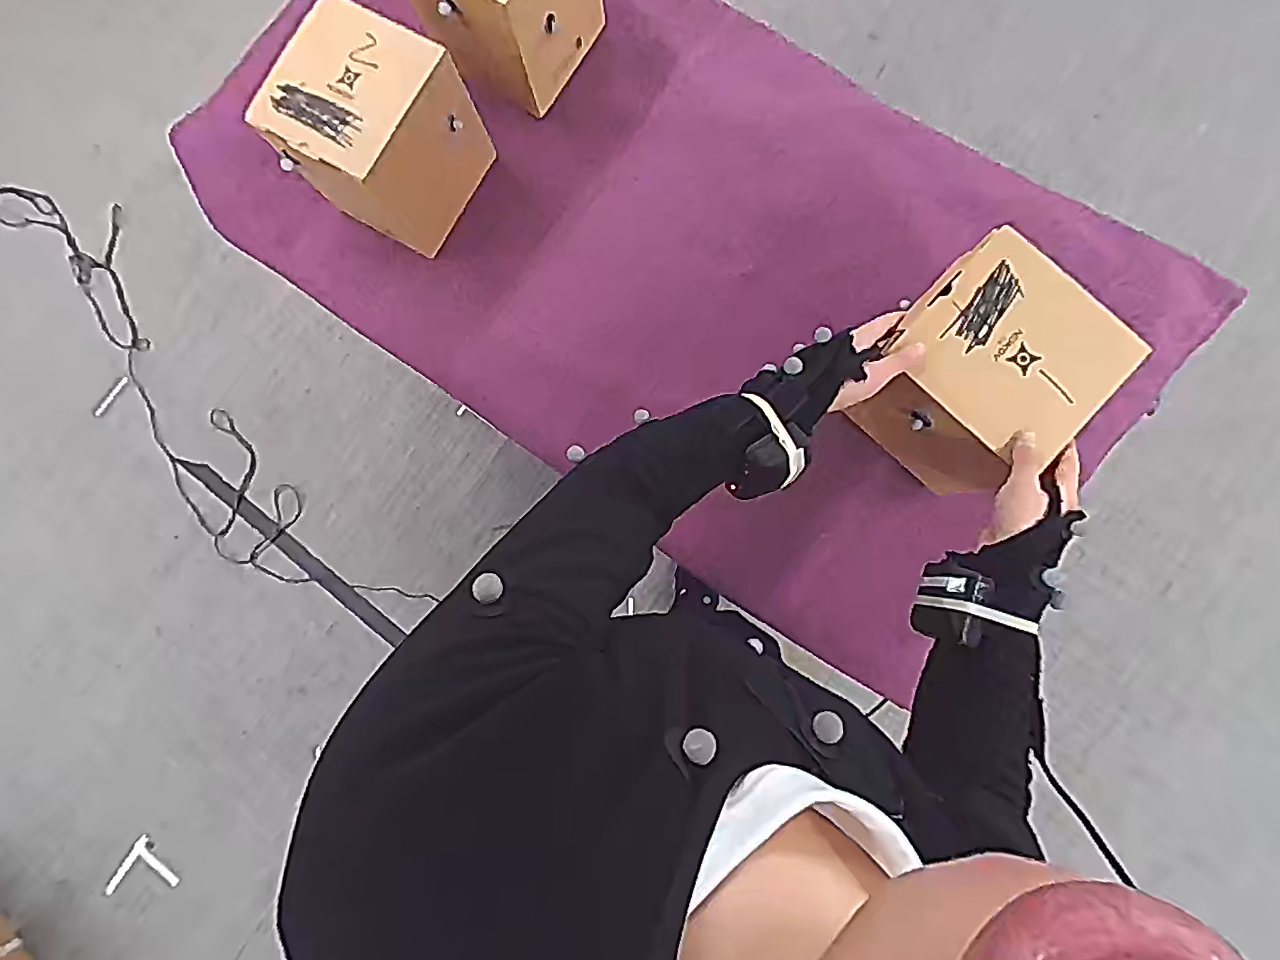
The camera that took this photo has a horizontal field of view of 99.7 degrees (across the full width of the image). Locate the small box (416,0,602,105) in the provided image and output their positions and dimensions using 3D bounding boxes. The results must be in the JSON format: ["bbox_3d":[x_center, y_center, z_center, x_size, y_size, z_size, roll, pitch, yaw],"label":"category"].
[{"bbox_3d":[-0.165,-0.618,0.673,0.179,0.176,0.168,32,88,6],"label":"small box"}]

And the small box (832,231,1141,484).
[{"bbox_3d":[0.336,-0.110,0.569,0.179,0.176,0.168,43,89,5],"label":"small box"}]
